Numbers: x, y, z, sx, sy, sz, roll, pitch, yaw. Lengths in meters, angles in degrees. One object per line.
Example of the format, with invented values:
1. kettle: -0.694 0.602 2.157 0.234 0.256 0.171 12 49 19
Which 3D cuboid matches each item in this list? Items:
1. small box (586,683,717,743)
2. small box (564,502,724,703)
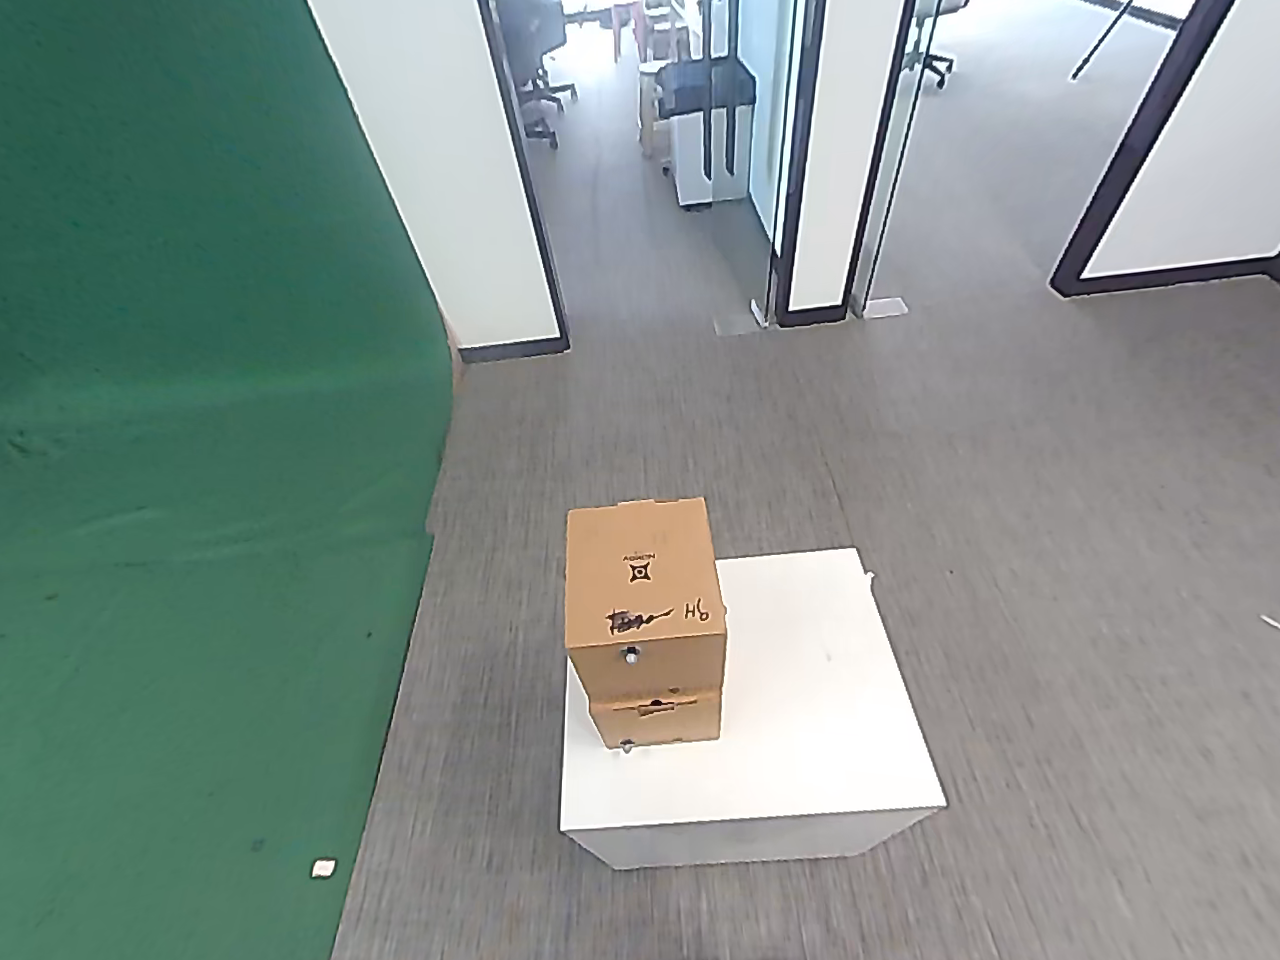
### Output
1. small box: 0.019 0.265 0.777 0.168 0.176 0.179 -6 48 2
2. small box: 0.007 0.151 0.660 0.168 0.176 0.179 -6 48 2
